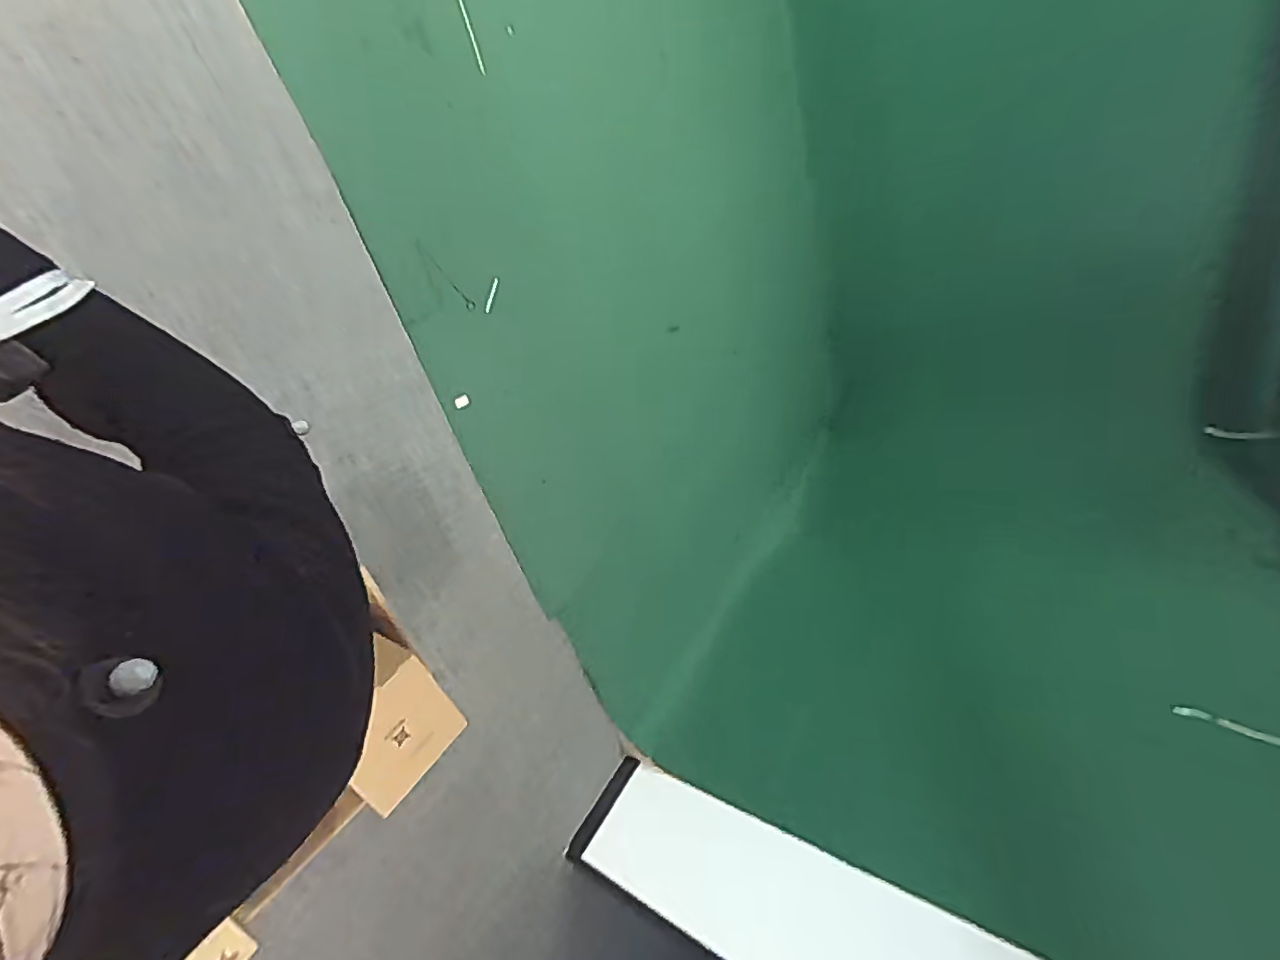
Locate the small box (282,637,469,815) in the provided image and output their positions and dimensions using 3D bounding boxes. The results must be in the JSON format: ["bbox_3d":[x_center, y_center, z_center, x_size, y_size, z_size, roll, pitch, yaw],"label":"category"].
[{"bbox_3d":[-0.411,0.369,0.845,0.168,0.176,0.179,-45,128,-37],"label":"small box"}]
